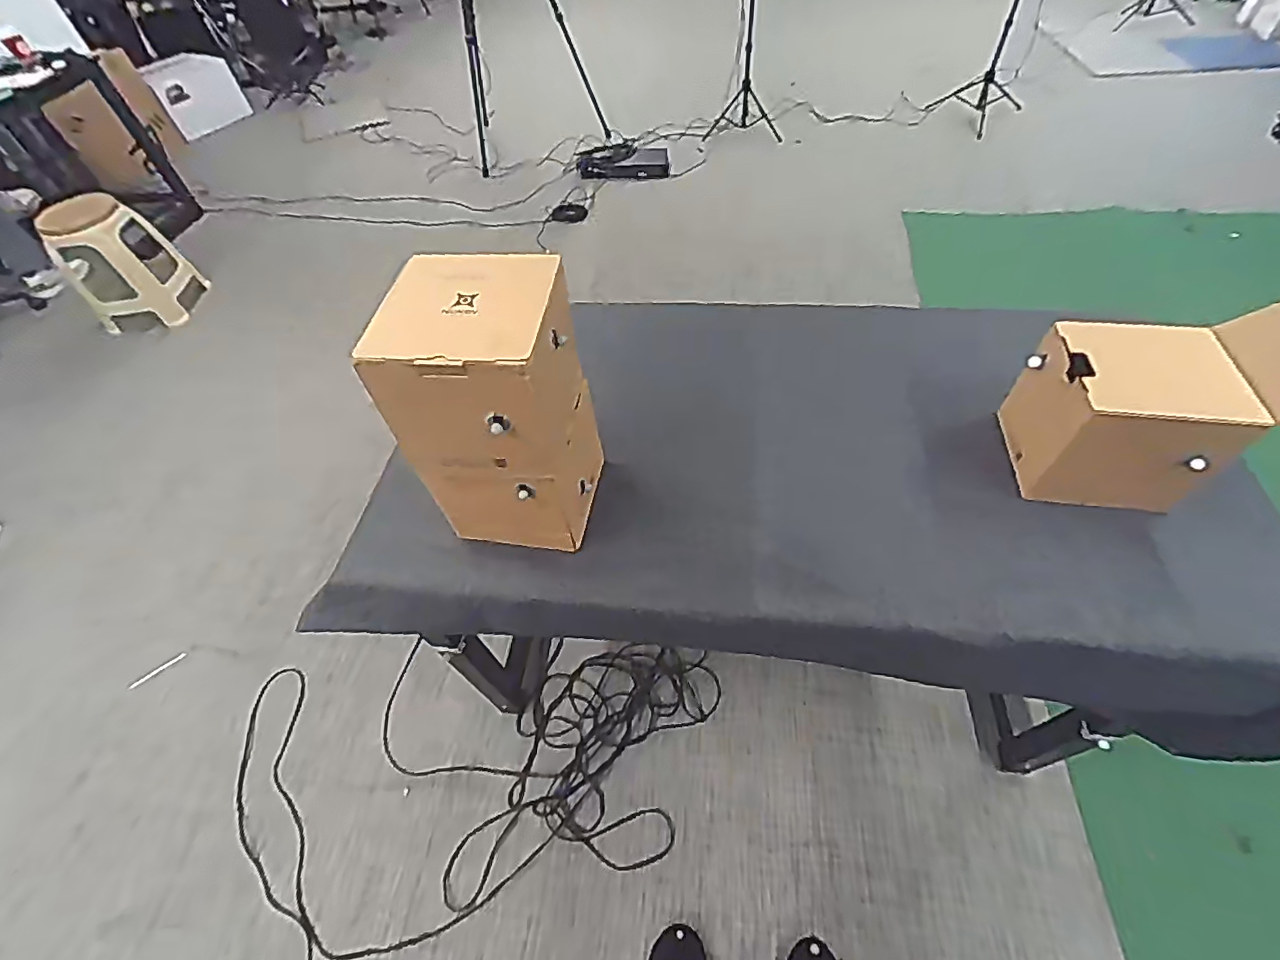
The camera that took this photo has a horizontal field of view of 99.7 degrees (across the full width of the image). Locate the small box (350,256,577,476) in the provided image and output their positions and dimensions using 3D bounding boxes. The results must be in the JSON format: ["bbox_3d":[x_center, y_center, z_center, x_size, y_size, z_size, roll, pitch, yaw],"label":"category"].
[{"bbox_3d":[-0.168,-0.120,0.587,0.168,0.176,0.179,2,51,4],"label":"small box"}]

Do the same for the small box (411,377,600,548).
[{"bbox_3d":[-0.162,-0.025,0.719,0.179,0.176,0.168,6,52,9],"label":"small box"}]
